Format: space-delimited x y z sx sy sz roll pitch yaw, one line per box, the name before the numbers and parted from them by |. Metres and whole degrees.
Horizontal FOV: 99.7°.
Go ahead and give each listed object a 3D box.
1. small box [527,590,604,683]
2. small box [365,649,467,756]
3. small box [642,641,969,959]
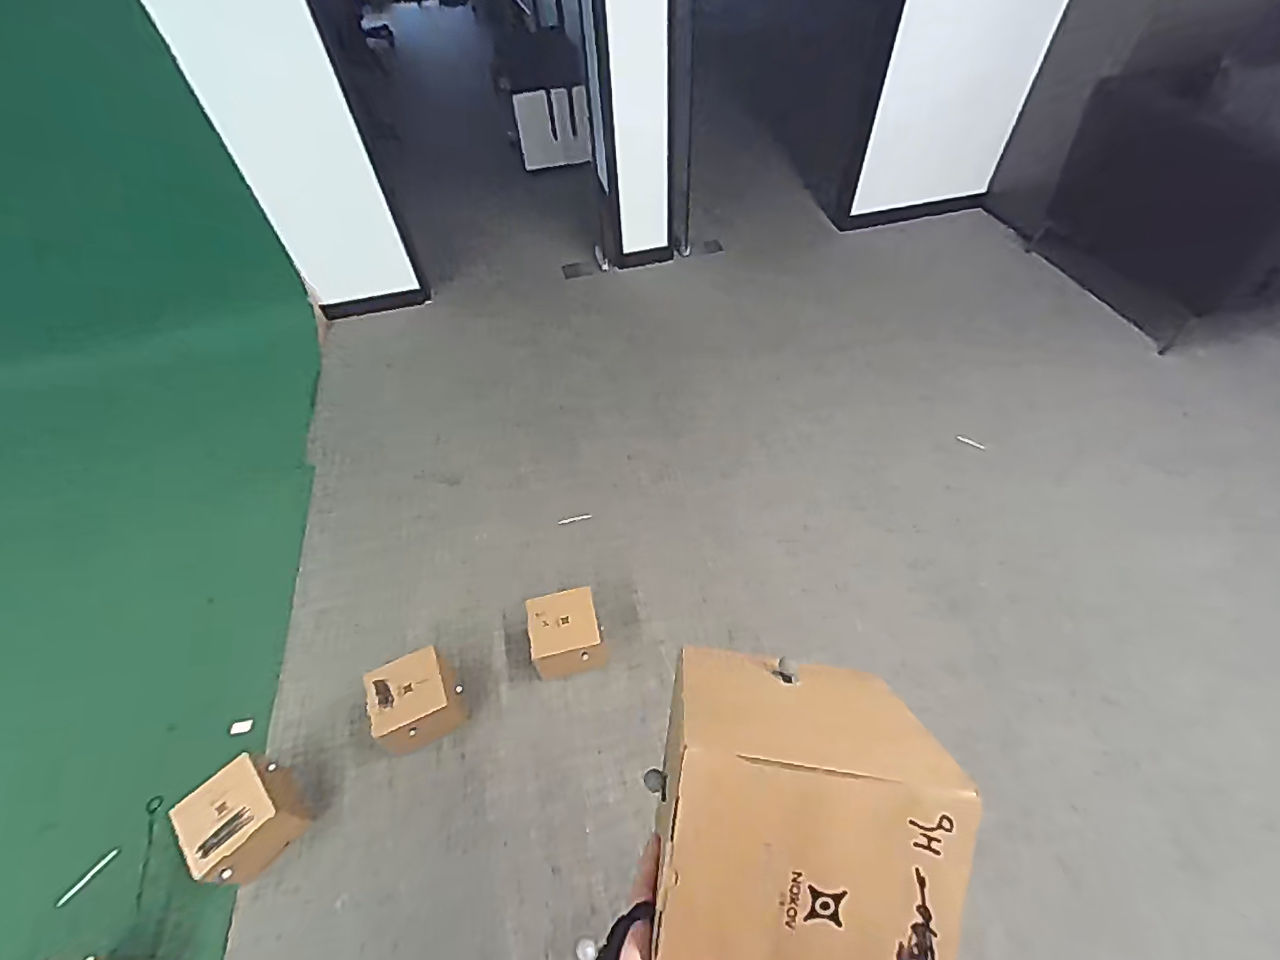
small box | -0.196 0.420 1.446 0.179 0.176 0.168 -12 51 -6
small box | -0.557 0.560 1.352 0.179 0.176 0.168 -21 53 -15
small box | 0.104 0.235 0.408 0.179 0.176 0.168 8 94 4
